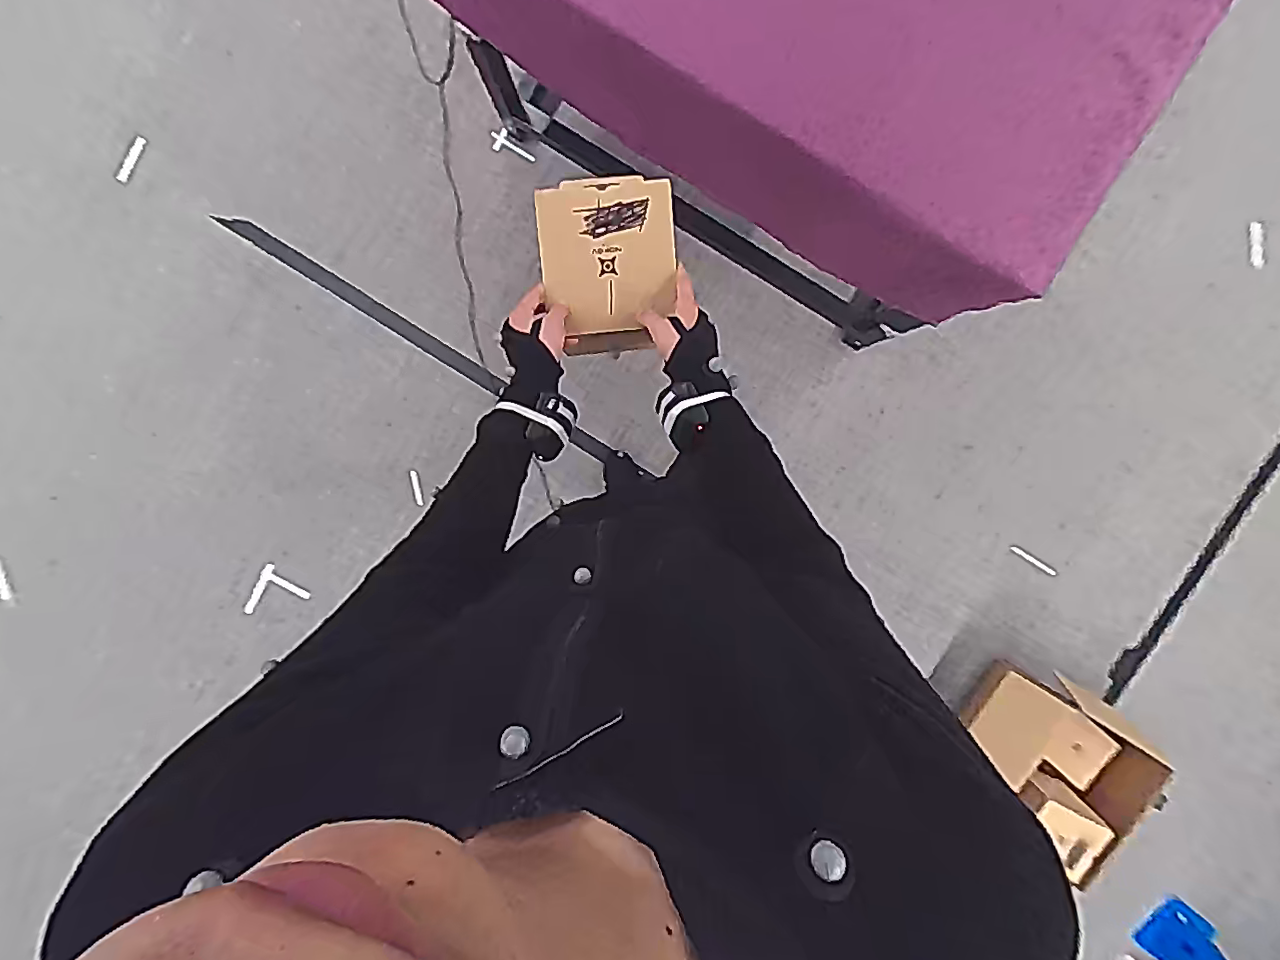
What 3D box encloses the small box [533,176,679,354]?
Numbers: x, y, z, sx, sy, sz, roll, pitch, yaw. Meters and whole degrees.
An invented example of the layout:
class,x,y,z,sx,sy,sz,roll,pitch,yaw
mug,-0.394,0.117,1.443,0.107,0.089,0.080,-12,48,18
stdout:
class,x,y,z,sx,sy,sz,roll,pitch,yaw
small box,-0.040,-0.275,0.727,0.168,0.176,0.179,-6,96,1
